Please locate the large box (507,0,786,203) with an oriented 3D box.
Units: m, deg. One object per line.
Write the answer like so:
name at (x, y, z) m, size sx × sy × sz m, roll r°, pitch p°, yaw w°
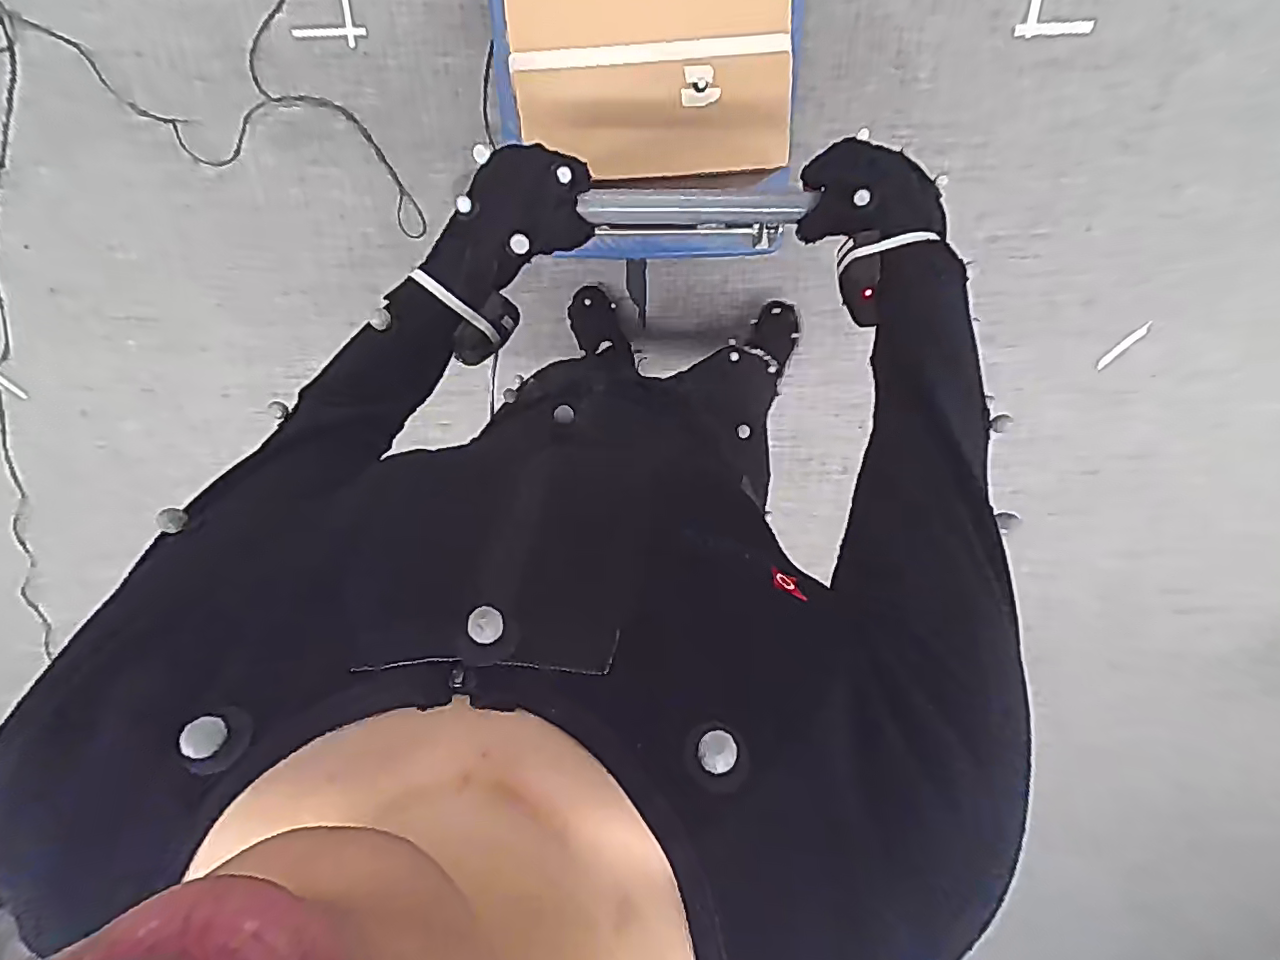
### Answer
large box at (0.006, -0.681, 0.929) m, size 0.408 × 0.320 × 0.320 m, roll -6°, pitch 112°, yaw -2°
